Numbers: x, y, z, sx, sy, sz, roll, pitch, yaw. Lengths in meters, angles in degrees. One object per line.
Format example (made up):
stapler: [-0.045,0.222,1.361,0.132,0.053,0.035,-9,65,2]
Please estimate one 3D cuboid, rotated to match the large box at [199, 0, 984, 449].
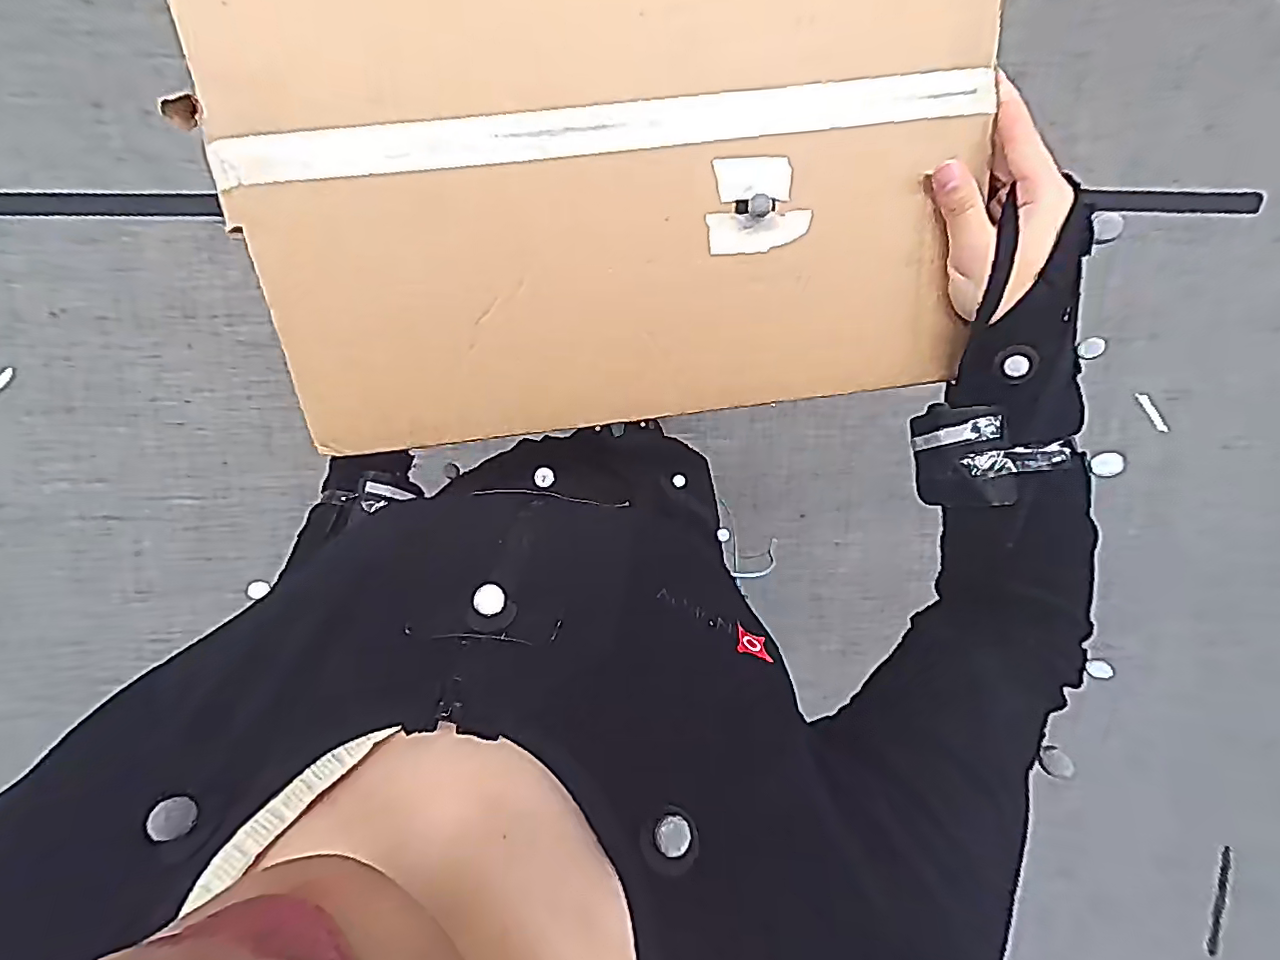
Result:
large box: [-0.025,-0.238,0.434,0.408,0.320,0.320,-8,111,-4]
